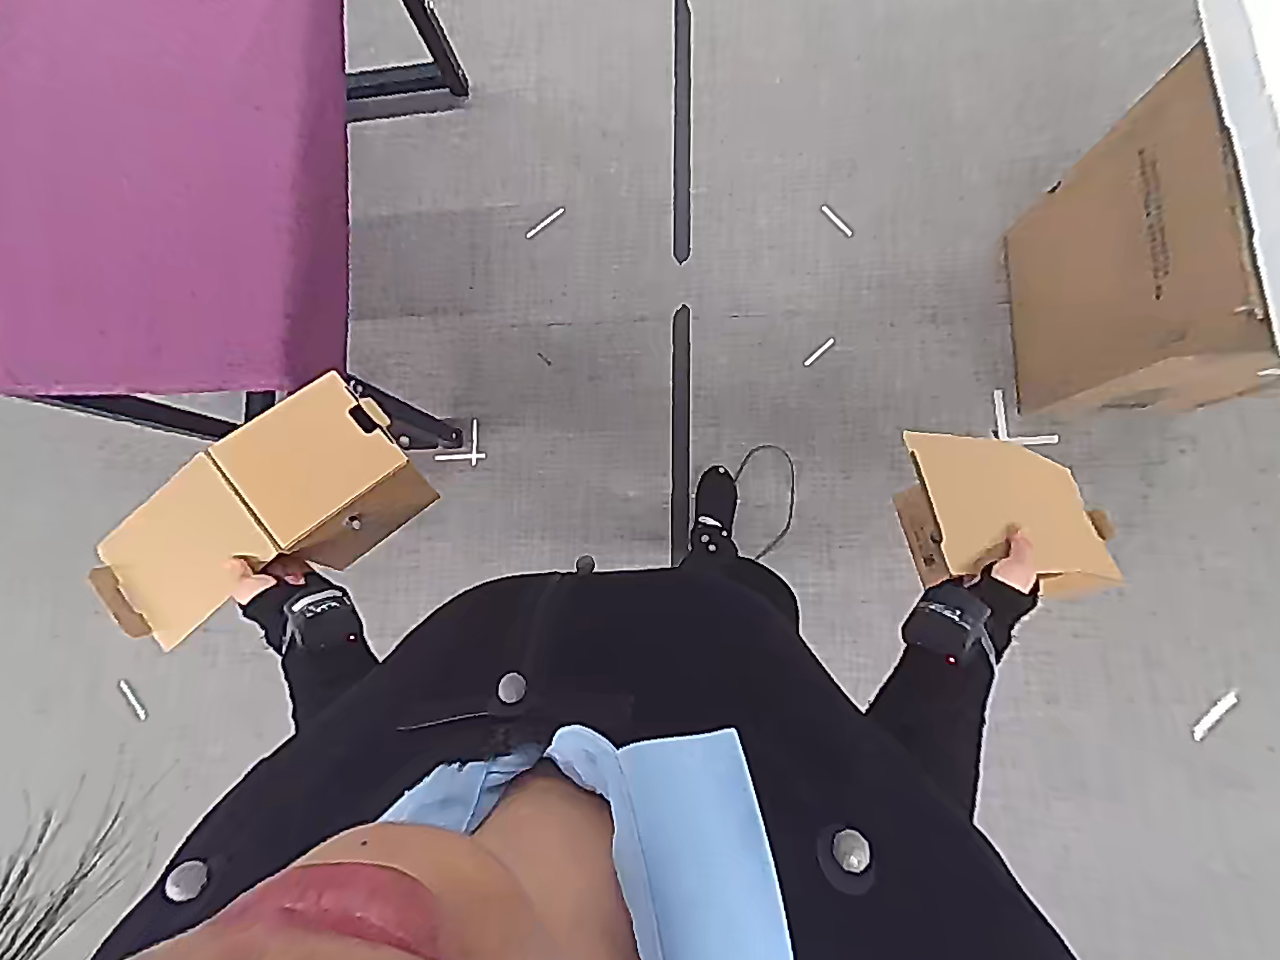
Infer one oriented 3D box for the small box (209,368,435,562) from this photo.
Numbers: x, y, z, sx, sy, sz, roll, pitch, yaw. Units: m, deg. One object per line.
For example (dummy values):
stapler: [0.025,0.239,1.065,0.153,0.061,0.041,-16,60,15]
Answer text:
small box: [-0.411,-0.010,0.734,0.179,0.176,0.168,-40,80,-17]
